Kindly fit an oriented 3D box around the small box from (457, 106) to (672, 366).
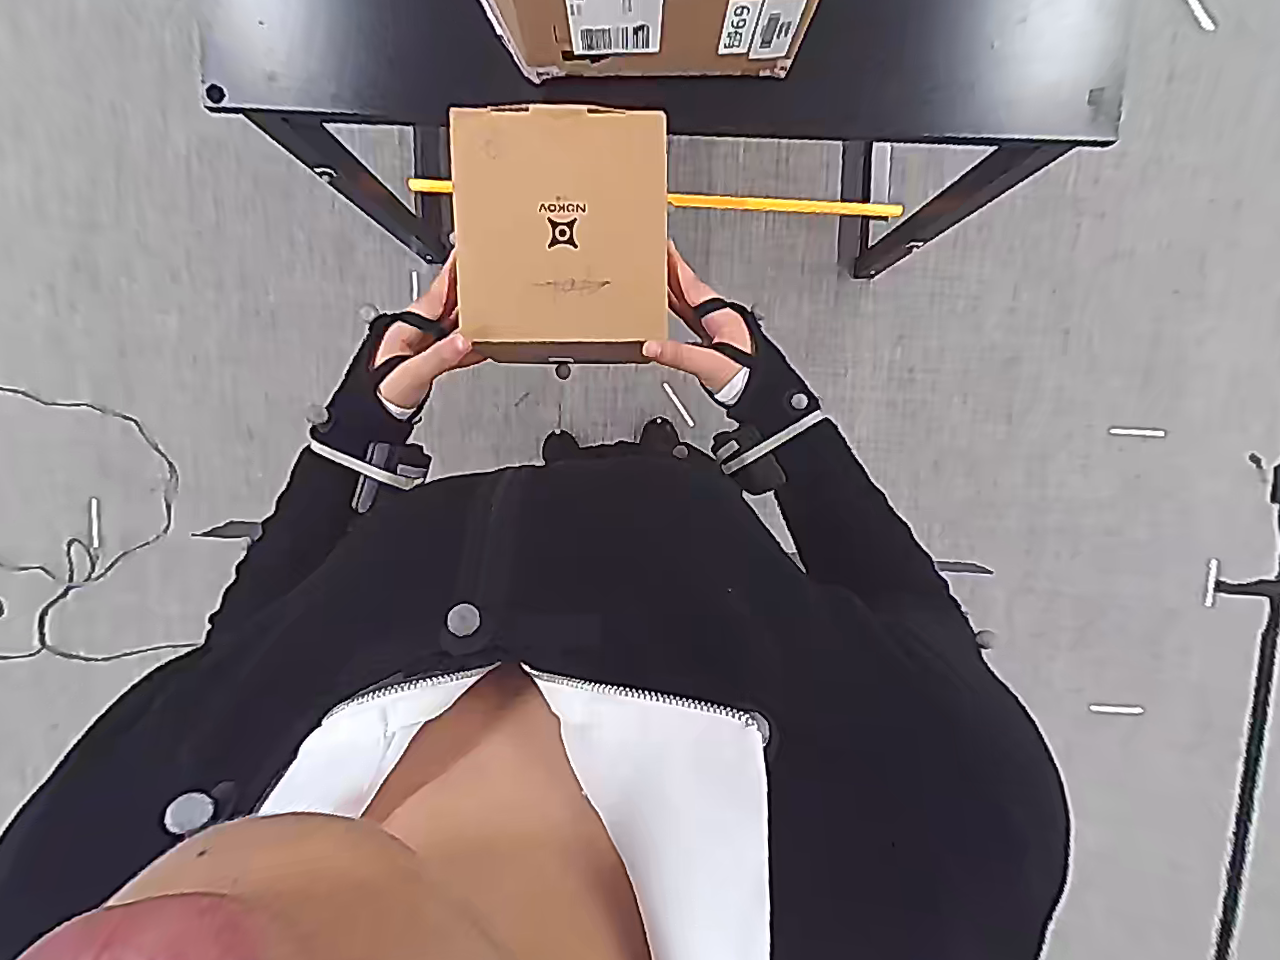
[{"bbox_3d":[-0.062,-0.203,0.498,0.168,0.176,0.179,-1,97,-3],"label":"small box"}]
